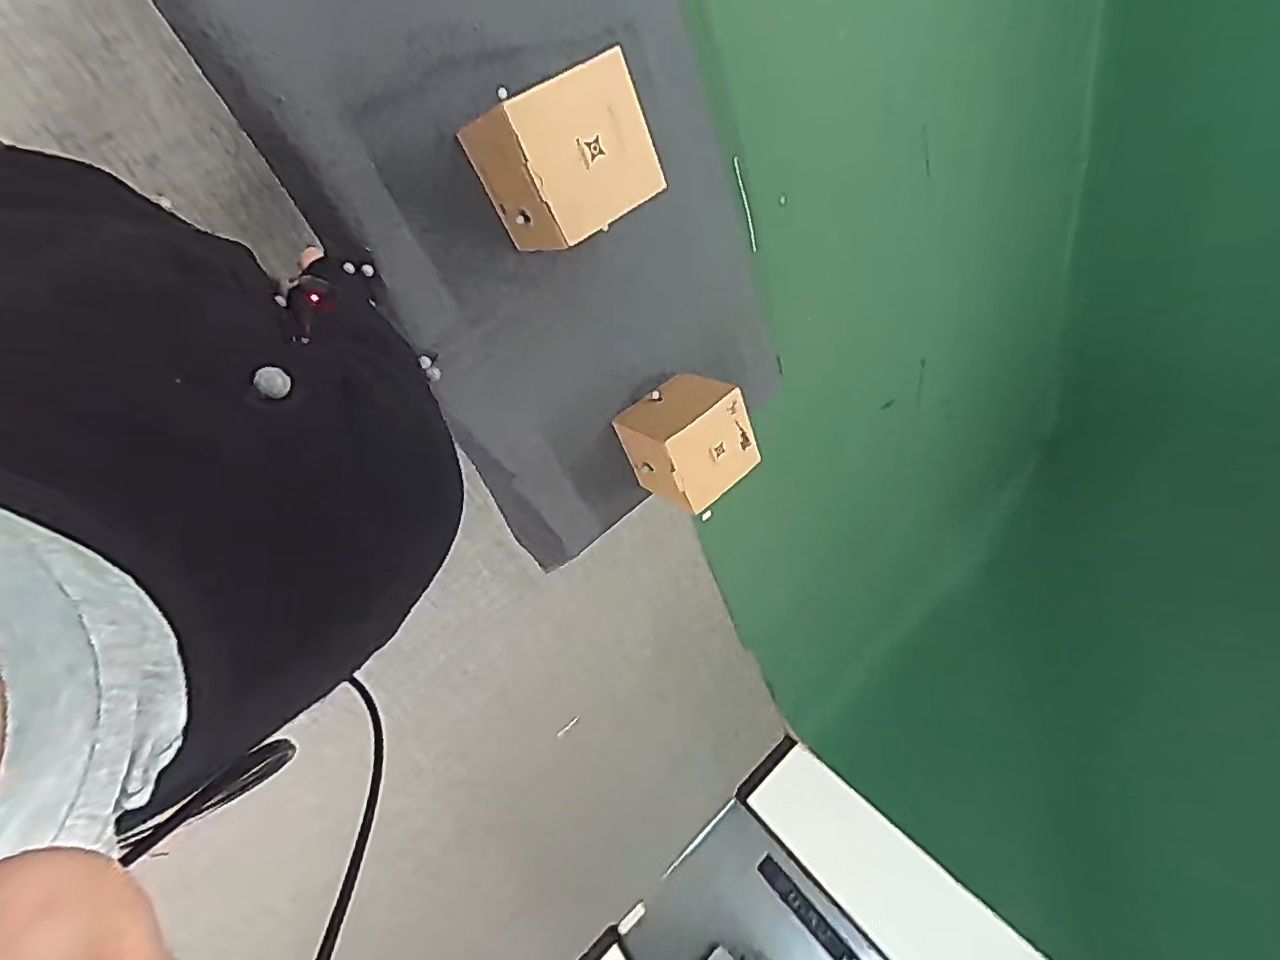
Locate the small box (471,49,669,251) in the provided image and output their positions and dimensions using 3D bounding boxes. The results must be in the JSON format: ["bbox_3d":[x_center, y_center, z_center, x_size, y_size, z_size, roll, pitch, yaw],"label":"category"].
[{"bbox_3d":[-0.099,-0.417,0.713,0.179,0.176,0.168,-41,128,-17],"label":"small box"}]

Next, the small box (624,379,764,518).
[{"bbox_3d":[0.092,-0.065,0.988,0.179,0.176,0.168,-38,126,-18],"label":"small box"}]
